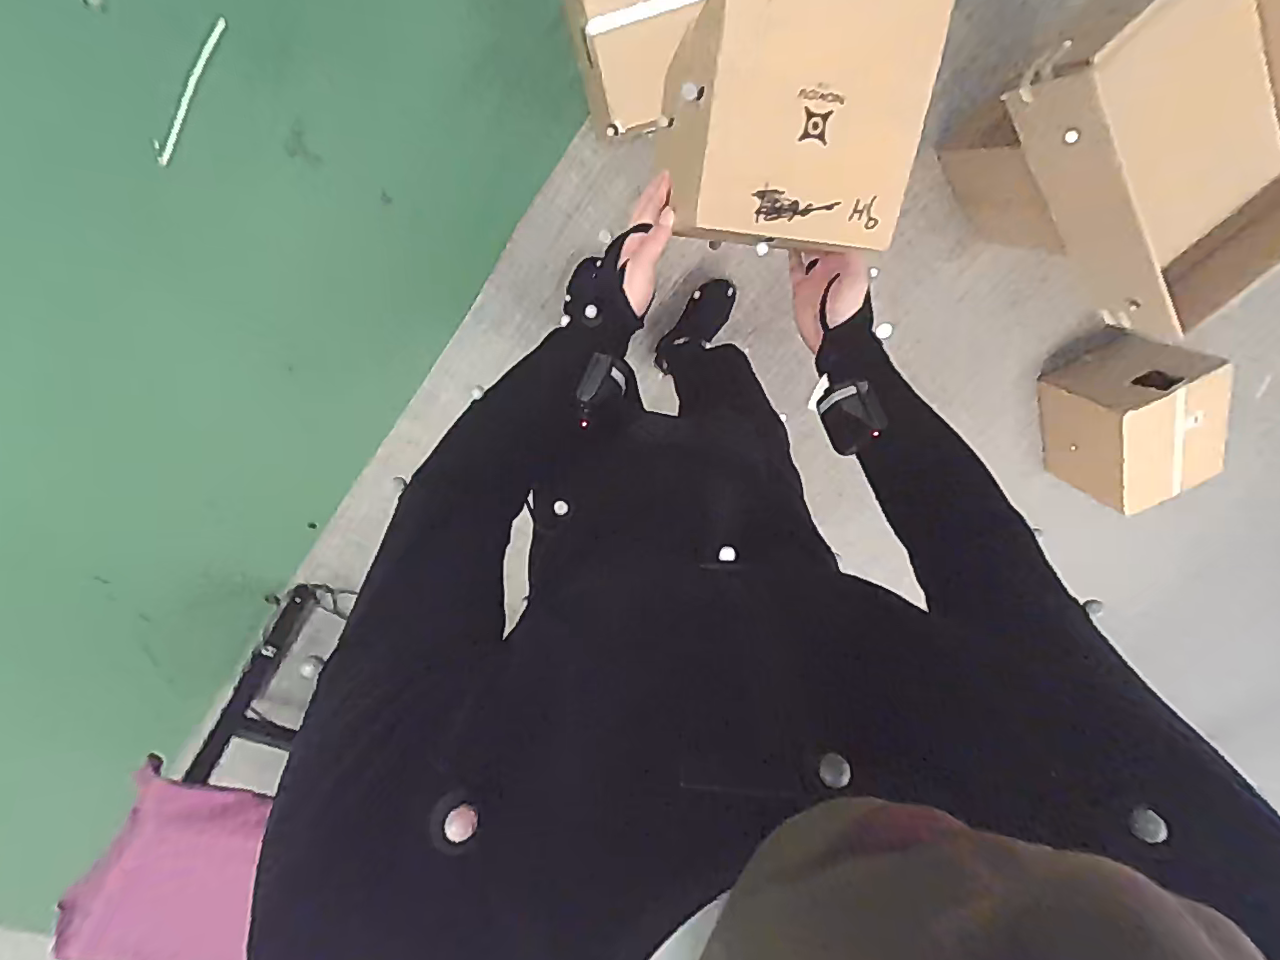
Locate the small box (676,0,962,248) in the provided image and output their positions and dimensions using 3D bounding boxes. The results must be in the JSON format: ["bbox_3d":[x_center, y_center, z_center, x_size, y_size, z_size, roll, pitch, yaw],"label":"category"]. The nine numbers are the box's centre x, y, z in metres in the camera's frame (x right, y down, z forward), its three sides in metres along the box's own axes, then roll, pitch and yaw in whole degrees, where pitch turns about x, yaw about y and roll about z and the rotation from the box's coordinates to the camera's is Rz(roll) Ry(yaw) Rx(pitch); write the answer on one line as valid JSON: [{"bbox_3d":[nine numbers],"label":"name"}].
[{"bbox_3d":[0.132,-0.307,0.473,0.168,0.176,0.179,3,113,-8],"label":"small box"}]

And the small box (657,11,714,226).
[{"bbox_3d":[0.116,-0.383,0.618,0.168,0.176,0.179,4,113,-8],"label":"small box"}]

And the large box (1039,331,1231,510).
[{"bbox_3d":[1.530,-0.189,1.697,0.320,0.320,0.408,-28,119,6],"label":"large box"}]
